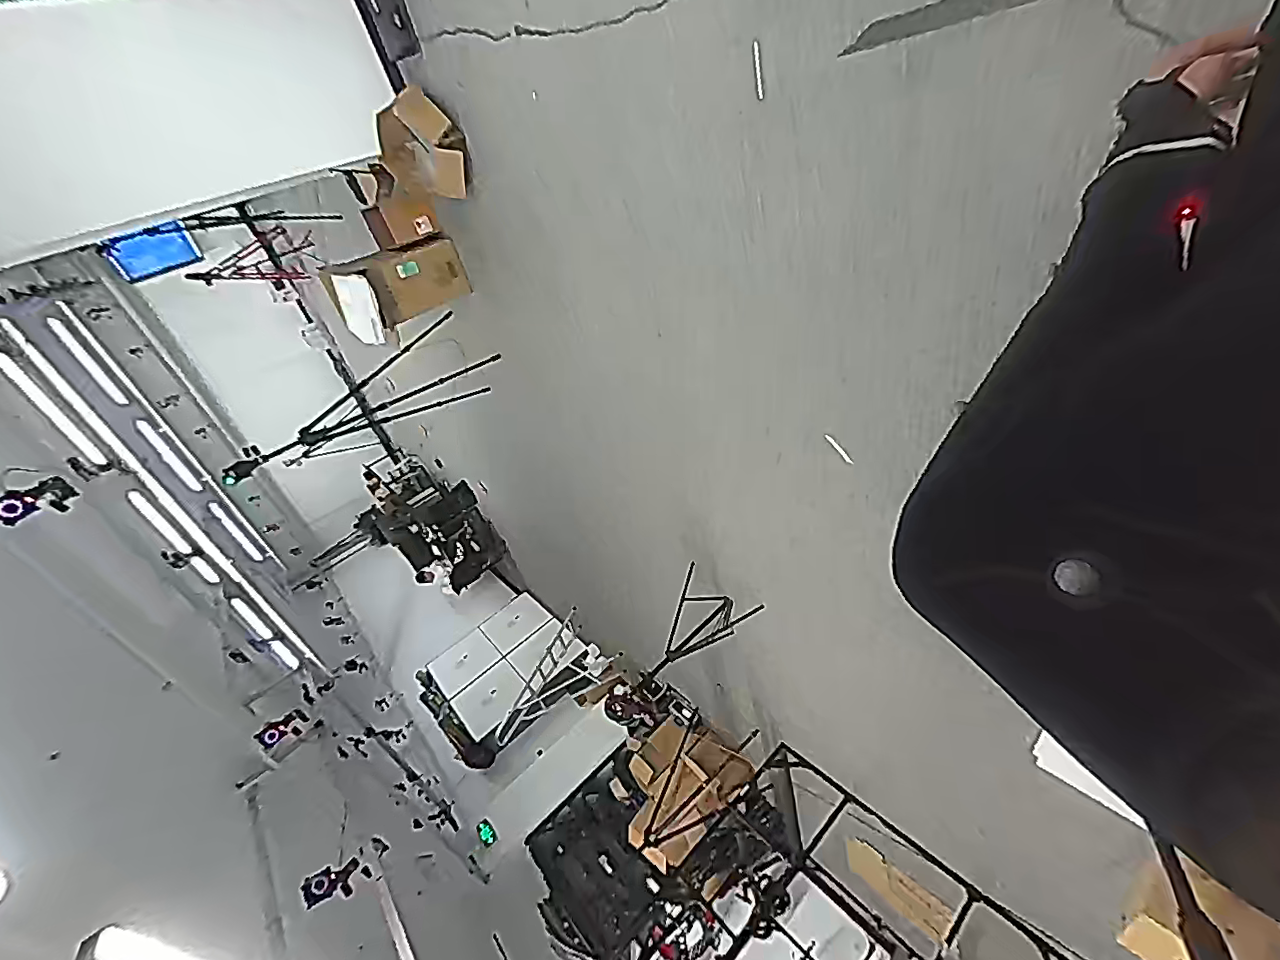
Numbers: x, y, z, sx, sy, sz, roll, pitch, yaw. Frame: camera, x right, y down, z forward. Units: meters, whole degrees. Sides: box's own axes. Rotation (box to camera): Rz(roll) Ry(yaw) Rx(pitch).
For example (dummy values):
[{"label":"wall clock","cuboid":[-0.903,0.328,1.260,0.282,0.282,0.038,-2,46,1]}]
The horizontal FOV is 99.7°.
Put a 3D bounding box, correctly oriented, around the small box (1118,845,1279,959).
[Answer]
[{"label":"small box","cuboid":[1.064,0.849,1.031,0.168,0.176,0.179,26,143,44]}]
